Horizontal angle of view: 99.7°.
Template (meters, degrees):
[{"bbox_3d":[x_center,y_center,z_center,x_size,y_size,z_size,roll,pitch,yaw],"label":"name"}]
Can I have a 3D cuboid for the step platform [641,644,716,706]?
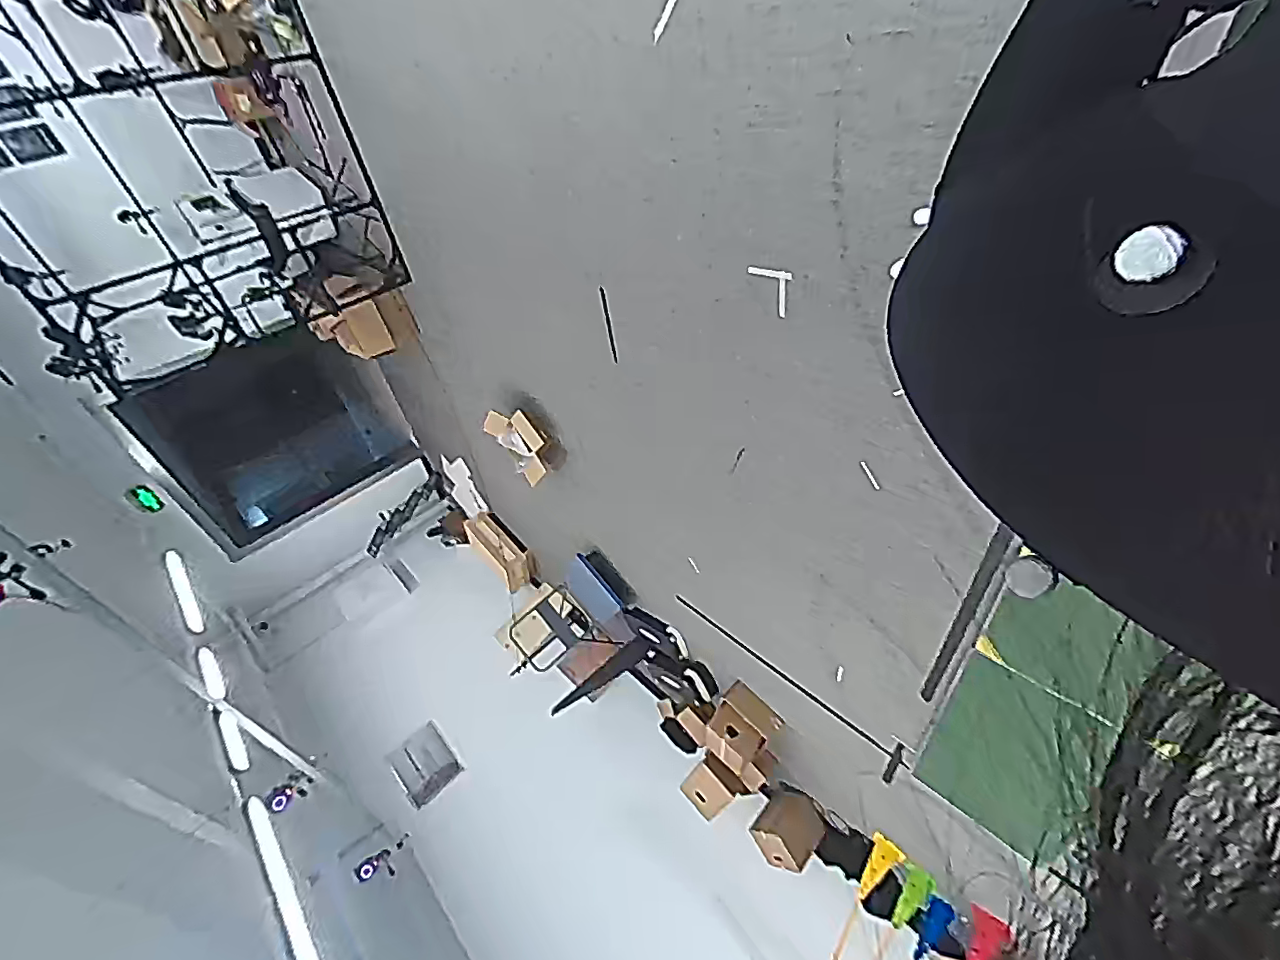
[{"bbox_3d":[0.292,1.569,4.369,0.684,0.204,0.286,-2,120,57],"label":"step platform"}]
